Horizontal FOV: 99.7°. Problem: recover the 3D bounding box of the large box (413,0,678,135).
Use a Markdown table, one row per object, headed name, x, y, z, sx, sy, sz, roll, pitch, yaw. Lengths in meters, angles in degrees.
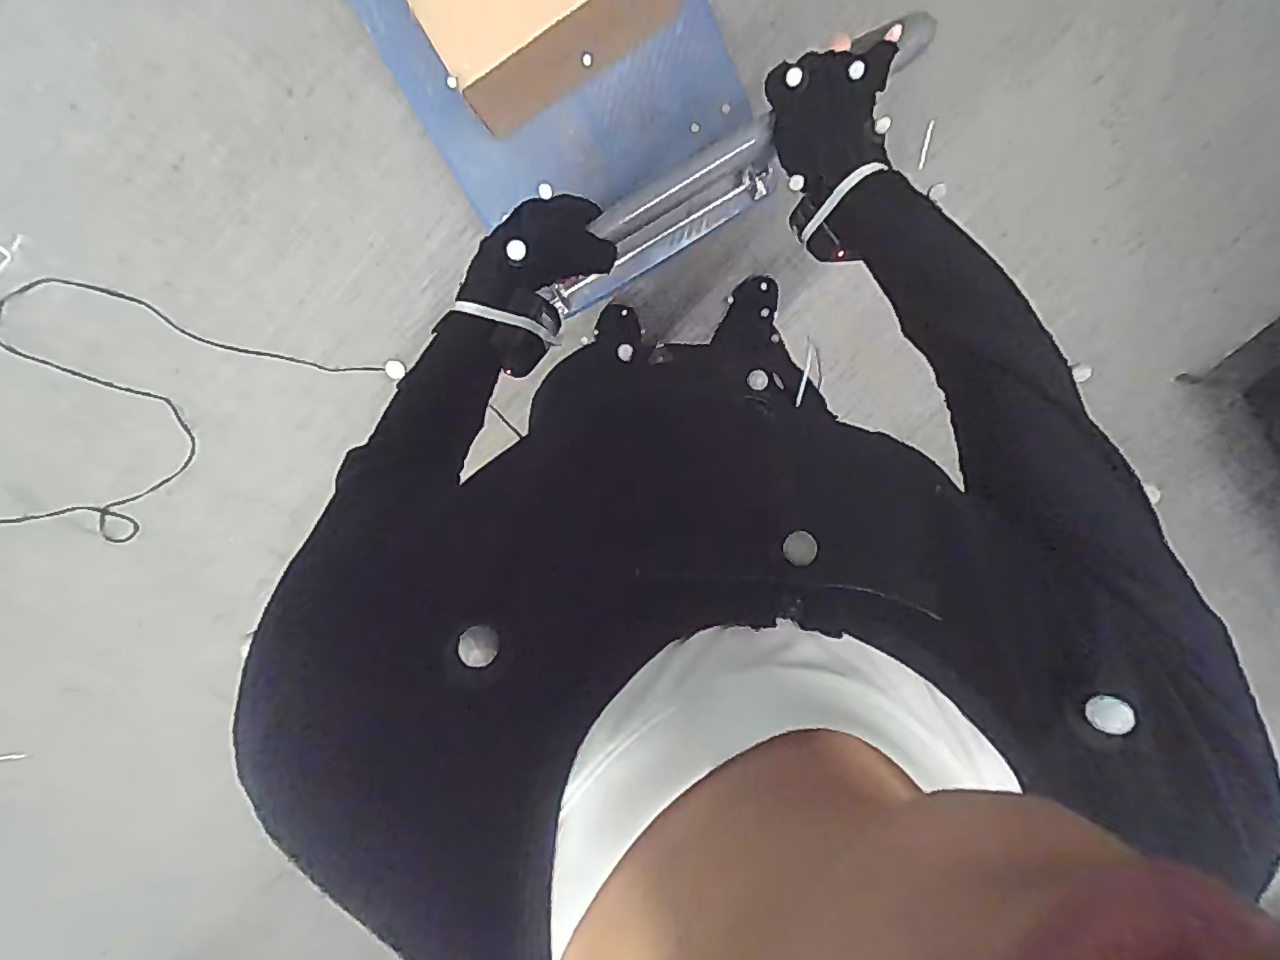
| name | x | y | z | sx | sy | sz | roll | pitch | yaw |
| --- | --- | --- | --- | --- | --- | --- | --- | --- | --- |
| large box | -0.166 | -0.841 | 0.854 | 0.408 | 0.320 | 0.320 | -30 | 109 | 8 |
